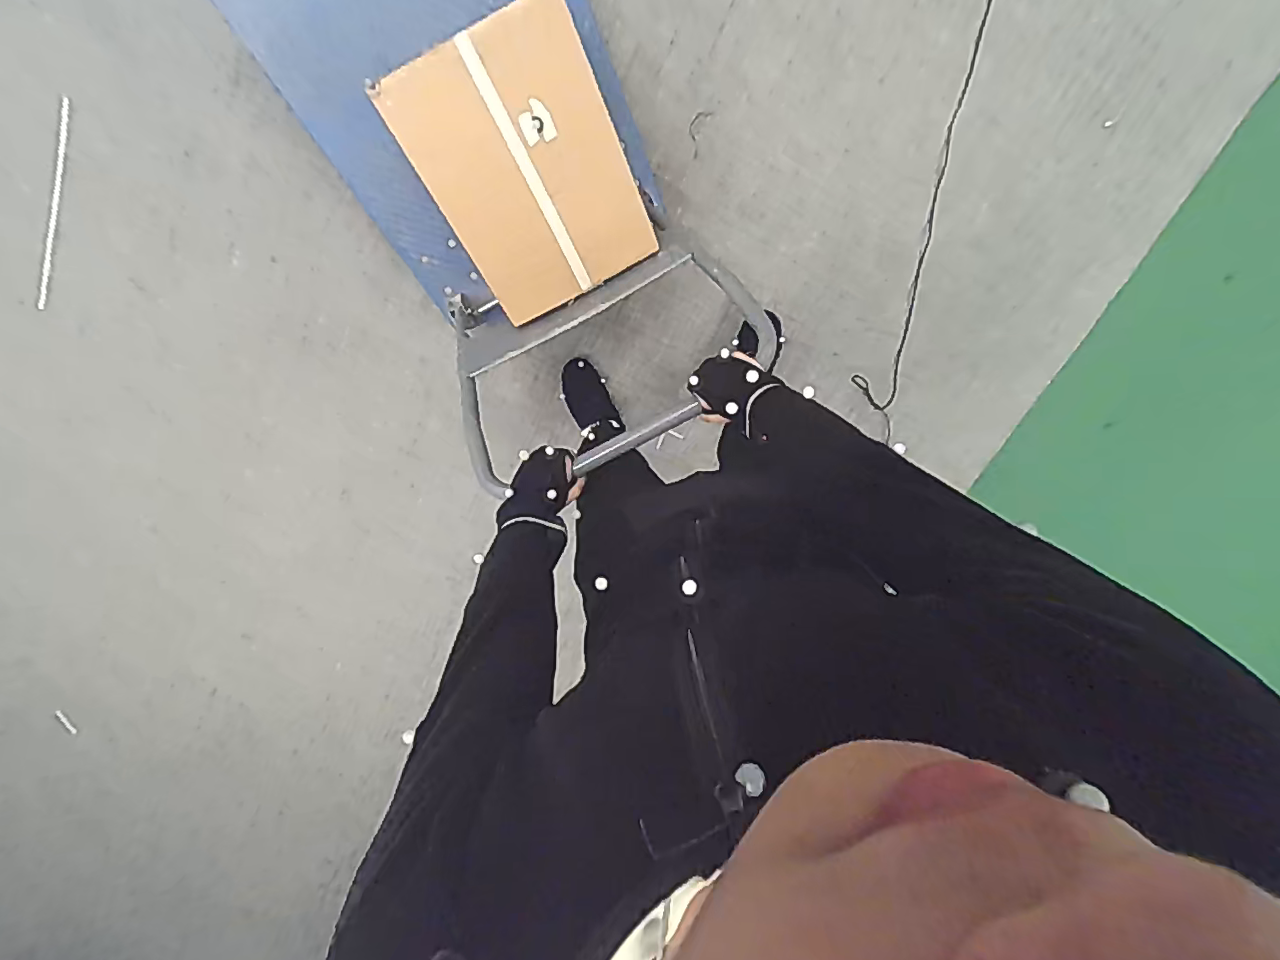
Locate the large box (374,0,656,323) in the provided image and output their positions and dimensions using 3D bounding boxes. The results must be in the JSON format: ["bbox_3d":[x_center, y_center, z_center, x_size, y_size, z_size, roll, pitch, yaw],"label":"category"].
[{"bbox_3d":[-0.215,-0.587,1.028,0.320,0.320,0.408,-27,129,4],"label":"large box"}]
